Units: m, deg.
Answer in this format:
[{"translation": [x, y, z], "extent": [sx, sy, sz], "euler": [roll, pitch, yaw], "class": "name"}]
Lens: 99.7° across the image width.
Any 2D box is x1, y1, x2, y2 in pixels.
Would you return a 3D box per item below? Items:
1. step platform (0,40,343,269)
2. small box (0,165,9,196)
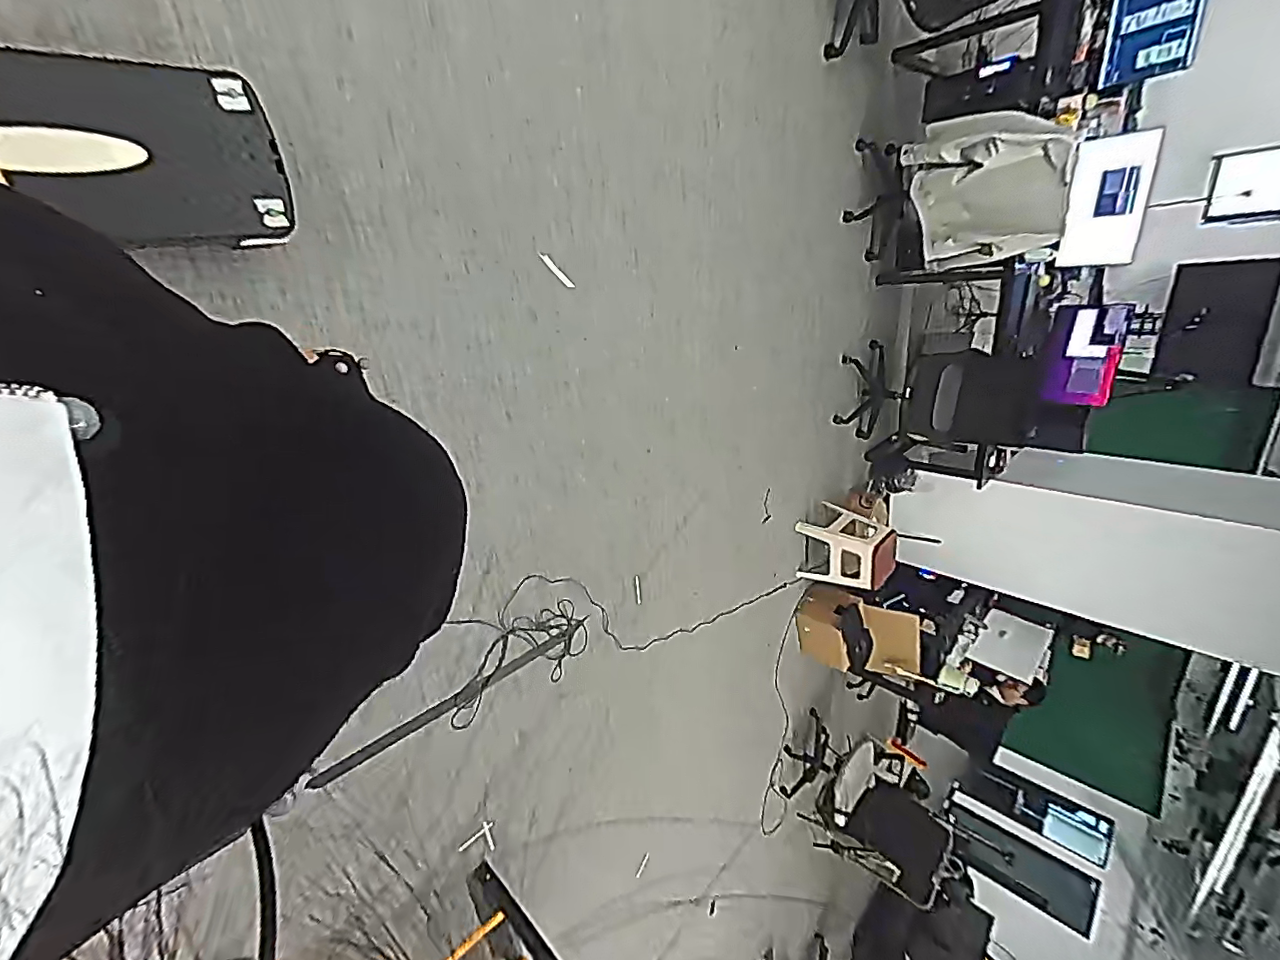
[{"translation": [-0.839, -0.474, 0.786], "extent": [0.684, 0.204, 0.286], "euler": [-26, 119, -39], "class": "step platform"}, {"translation": [-0.981, -0.458, 0.698], "extent": [0.179, 0.176, 0.168], "euler": [-29, 121, -37], "class": "small box"}]
